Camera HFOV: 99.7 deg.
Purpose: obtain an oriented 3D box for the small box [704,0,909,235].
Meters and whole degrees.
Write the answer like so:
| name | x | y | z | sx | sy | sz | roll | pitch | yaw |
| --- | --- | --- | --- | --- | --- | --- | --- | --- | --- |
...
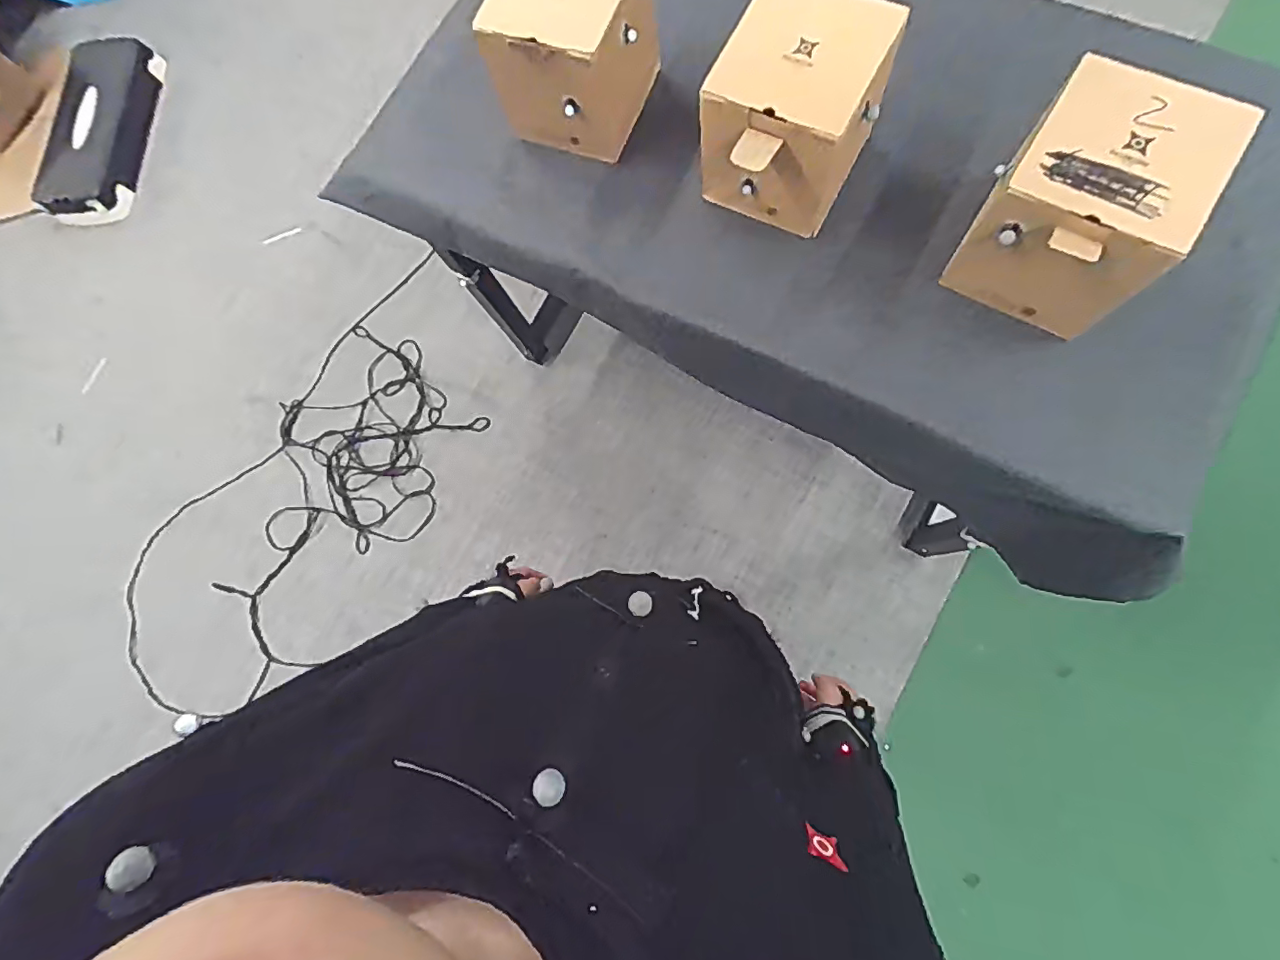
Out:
| name | x | y | z | sx | sy | sz | roll | pitch | yaw |
| --- | --- | --- | --- | --- | --- | --- | --- | --- | --- |
| small box | 0.187 | -0.445 | 0.661 | 0.168 | 0.176 | 0.179 | 27 | 84 | 12 |

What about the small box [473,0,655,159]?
| name | x | y | z | sx | sy | sz | roll | pitch | yaw |
| --- | --- | --- | --- | --- | --- | --- | --- | --- | --- |
| small box | -0.086 | -0.574 | 0.722 | 0.168 | 0.176 | 0.179 | 21 | 81 | 10 |
